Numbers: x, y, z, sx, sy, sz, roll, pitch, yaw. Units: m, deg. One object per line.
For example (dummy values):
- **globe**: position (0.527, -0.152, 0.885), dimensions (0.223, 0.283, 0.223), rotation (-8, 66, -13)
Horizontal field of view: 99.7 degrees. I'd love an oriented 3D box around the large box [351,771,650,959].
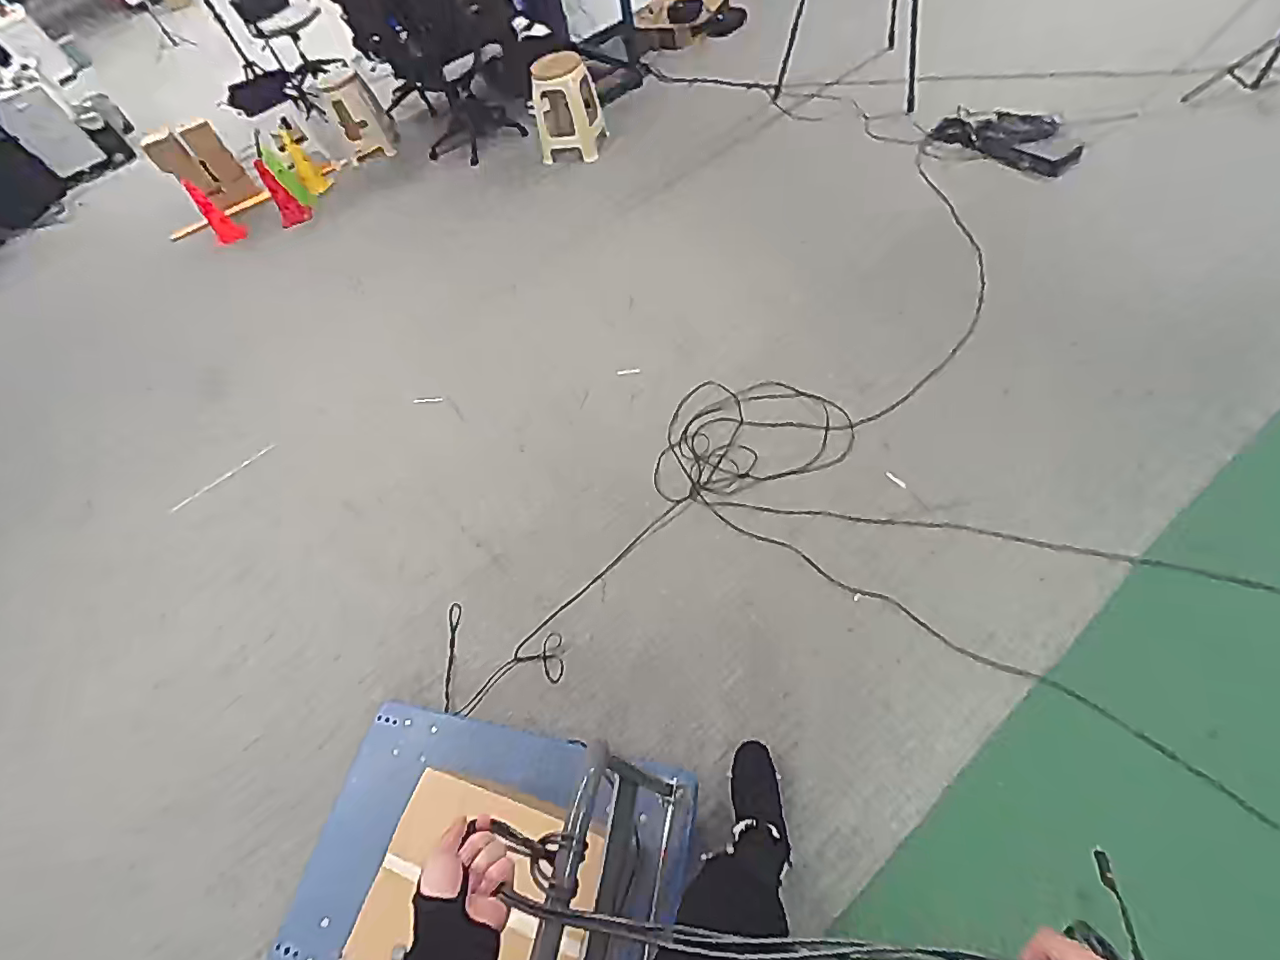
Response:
- **large box**: position (-0.230, 0.795, 1.036), dimensions (0.408, 0.320, 0.320), rotation (9, 59, 19)
